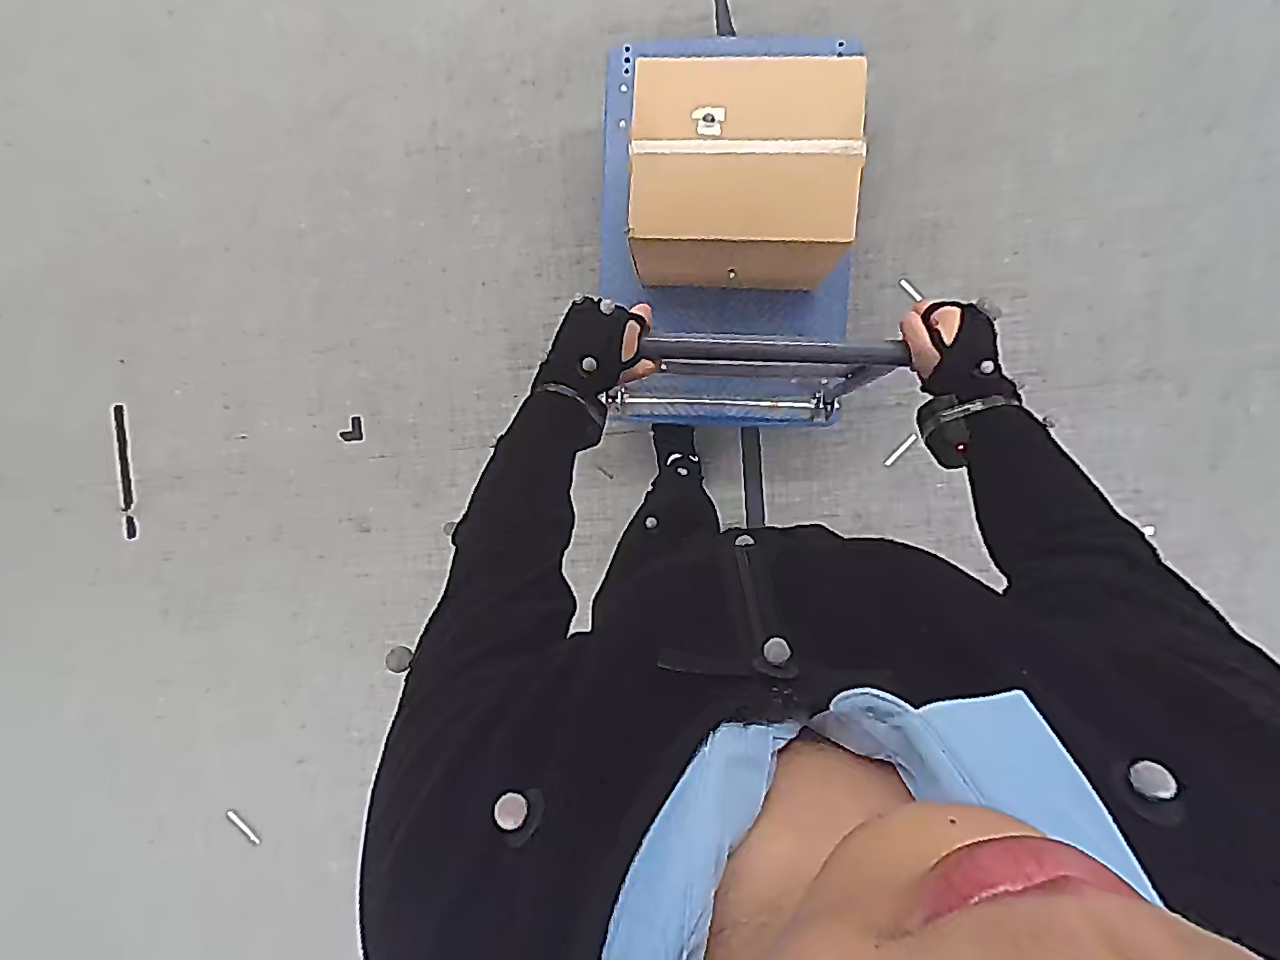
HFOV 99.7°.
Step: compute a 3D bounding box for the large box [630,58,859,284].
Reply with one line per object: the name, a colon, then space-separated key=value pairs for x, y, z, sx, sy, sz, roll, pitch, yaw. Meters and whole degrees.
large box: x=0.200 y=-0.605 z=1.124 sx=0.408 sy=0.320 sz=0.320 roll=3 pitch=93 yaw=6
